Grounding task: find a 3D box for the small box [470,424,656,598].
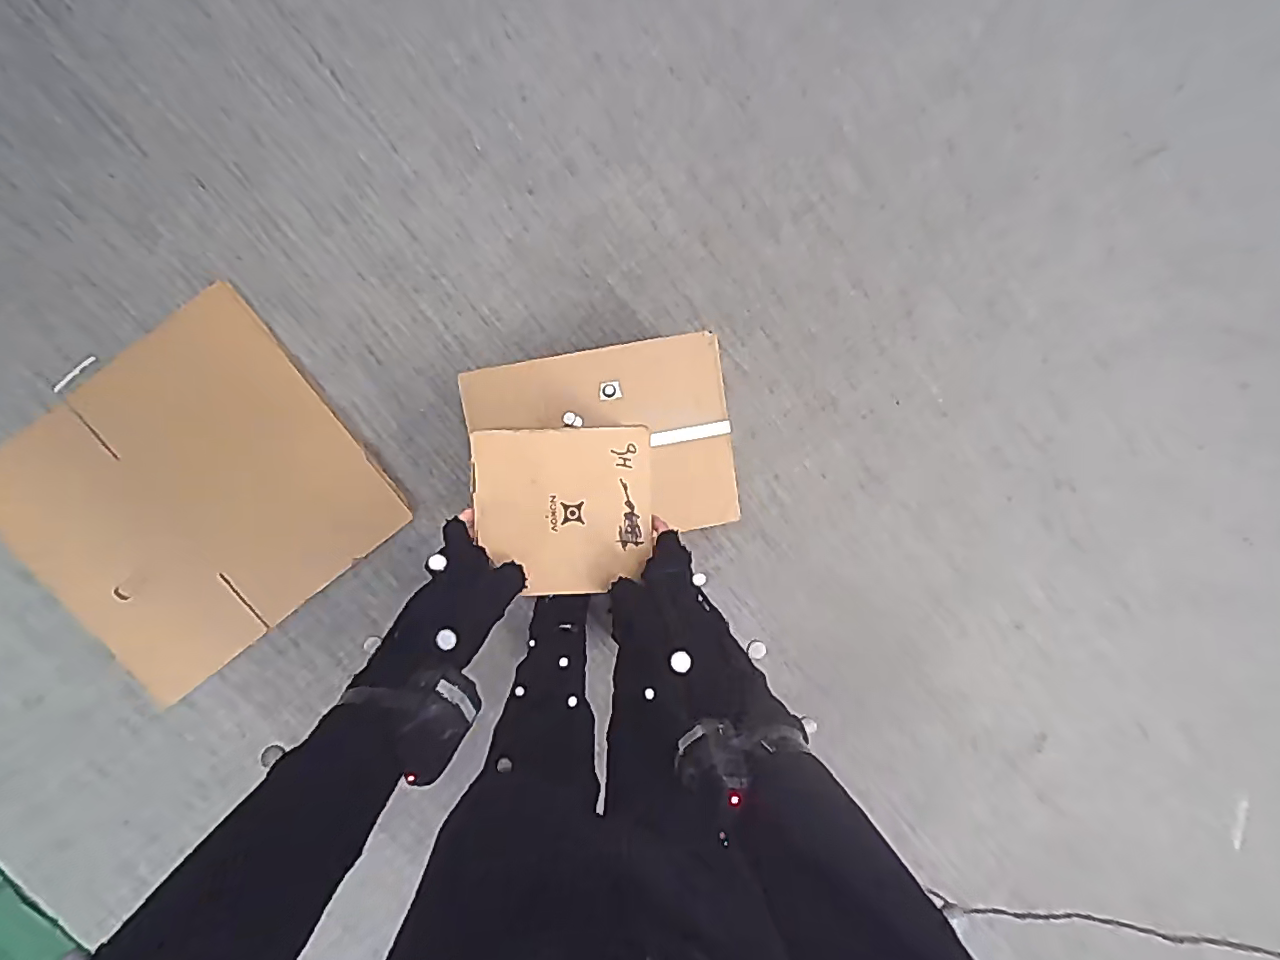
[{"bbox_3d":[-0.079,0.028,0.617,0.179,0.176,0.168,-5,94,-3],"label":"small box"}]
